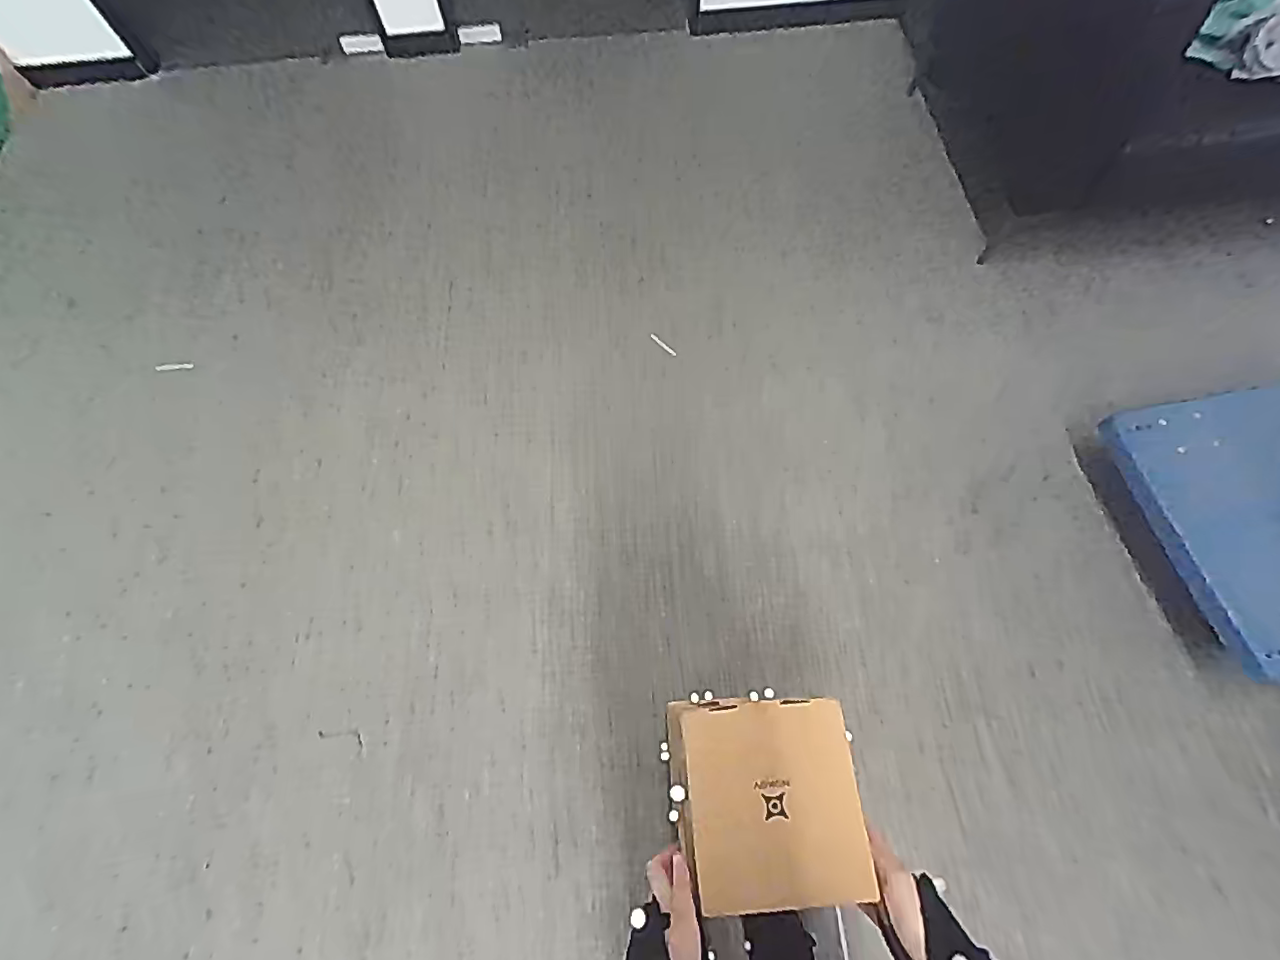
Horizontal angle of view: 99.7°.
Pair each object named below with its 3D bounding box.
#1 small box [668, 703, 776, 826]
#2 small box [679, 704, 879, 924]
[{"bbox_3d":[0.137,0.464,0.896,0.179,0.176,0.168,-2,67,1],"label":"small box"},{"bbox_3d":[0.133,0.345,0.592,0.168,0.176,0.179,-5,66,0],"label":"small box"}]
